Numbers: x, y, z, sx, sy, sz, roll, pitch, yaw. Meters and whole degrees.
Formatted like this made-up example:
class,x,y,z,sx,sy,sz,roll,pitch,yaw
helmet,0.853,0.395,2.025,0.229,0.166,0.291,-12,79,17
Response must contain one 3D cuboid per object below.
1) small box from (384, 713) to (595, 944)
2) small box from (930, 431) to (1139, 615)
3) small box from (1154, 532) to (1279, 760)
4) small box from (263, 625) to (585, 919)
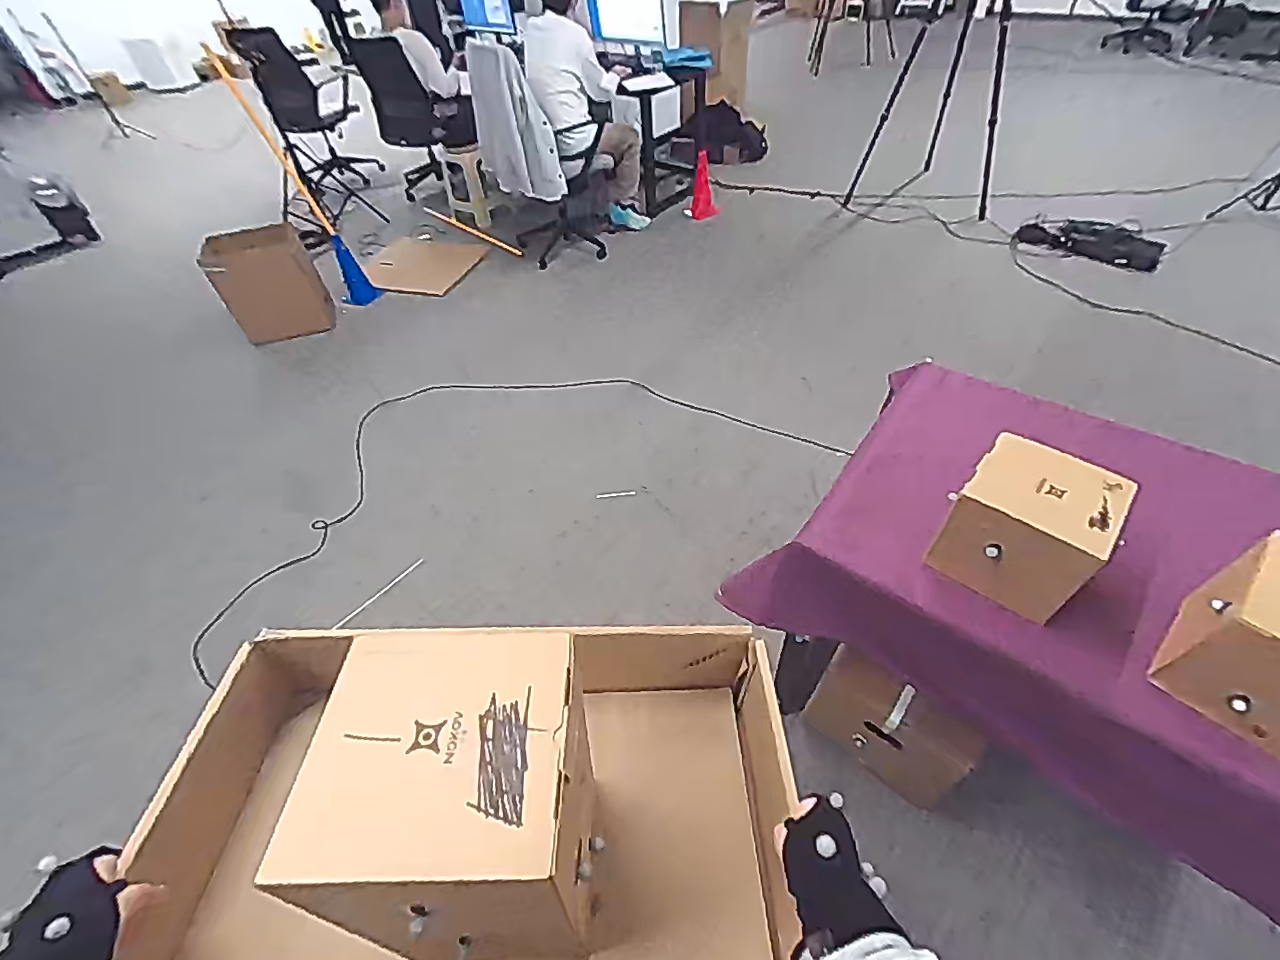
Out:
class,x,y,z,sx,sy,sz,roll,pitch,yaw
small box,-0.140,0.352,0.547,0.179,0.176,0.168,0,44,-2
small box,0.559,0.064,0.790,0.179,0.176,0.168,32,59,30
small box,0.781,0.202,0.648,0.179,0.176,0.168,-37,55,-24
small box,-0.139,0.233,0.434,0.179,0.176,0.168,-1,43,0
